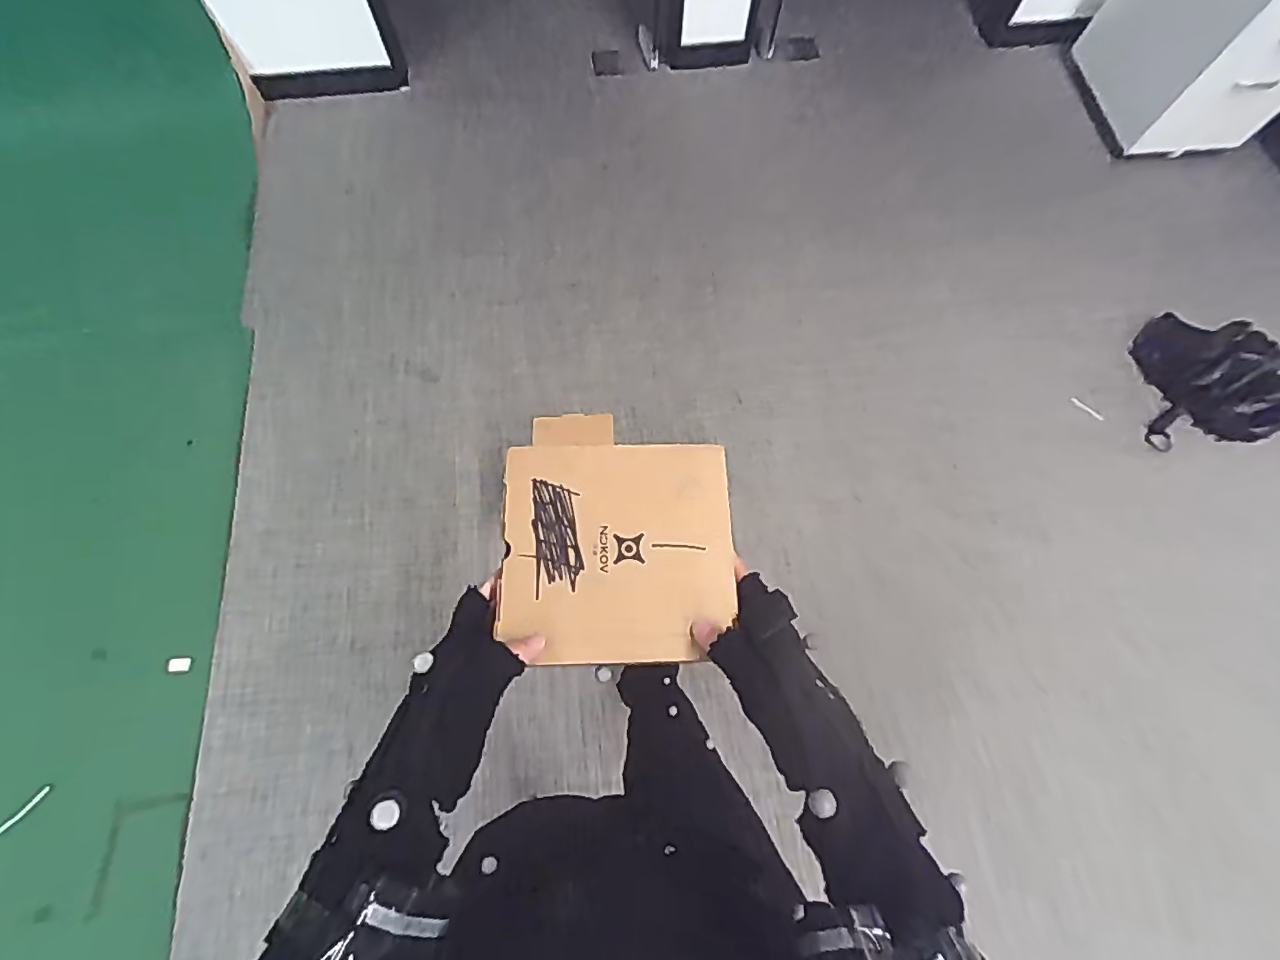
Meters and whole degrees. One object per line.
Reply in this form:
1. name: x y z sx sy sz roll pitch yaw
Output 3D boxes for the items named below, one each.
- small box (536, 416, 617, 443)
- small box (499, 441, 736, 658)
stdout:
1. small box: -0.130 -0.021 1.167 0.168 0.176 0.179 -4 71 0
2. small box: -0.020 0.073 0.492 0.179 0.176 0.168 0 71 -3
